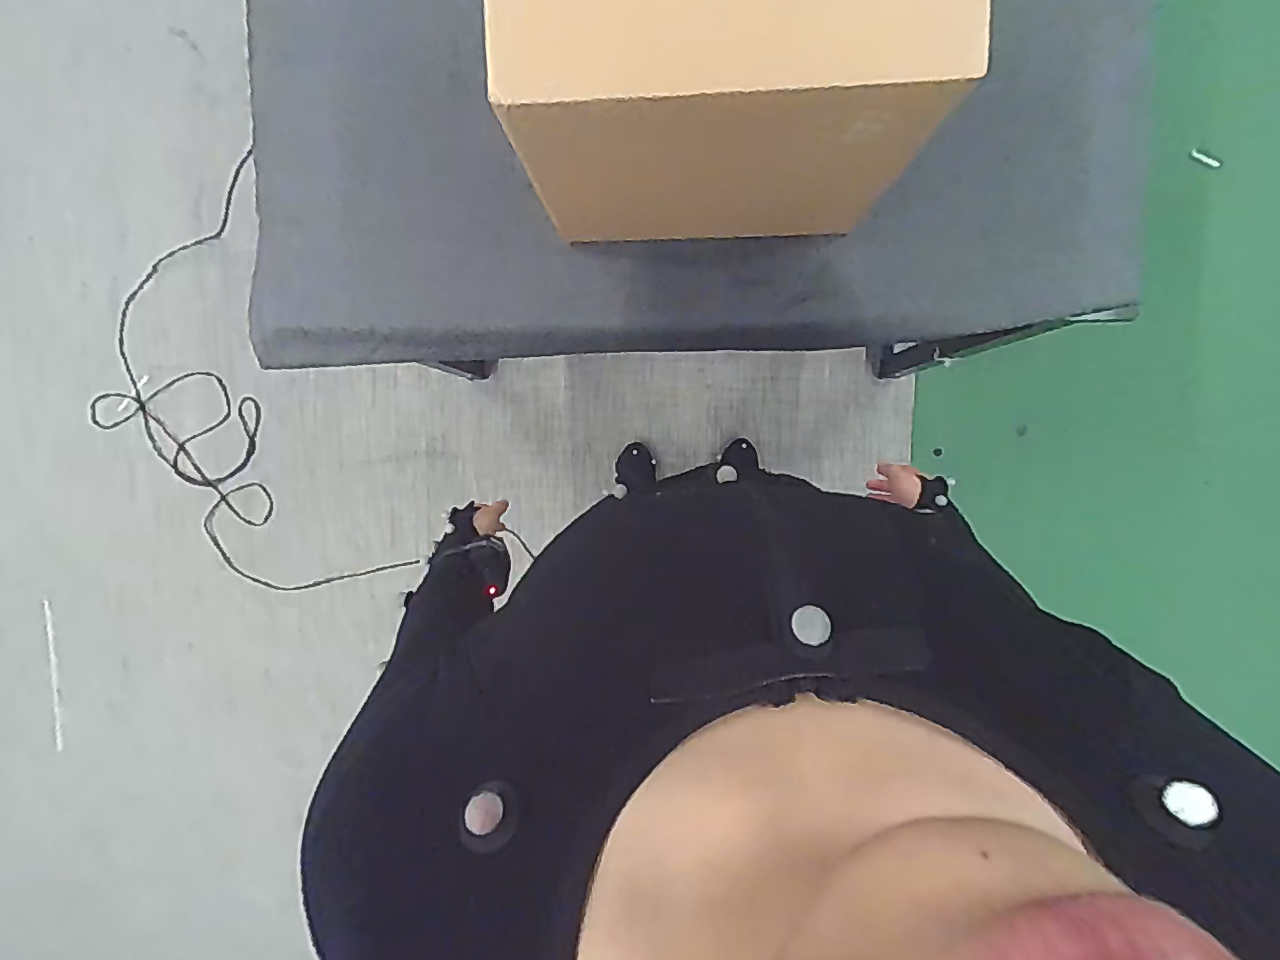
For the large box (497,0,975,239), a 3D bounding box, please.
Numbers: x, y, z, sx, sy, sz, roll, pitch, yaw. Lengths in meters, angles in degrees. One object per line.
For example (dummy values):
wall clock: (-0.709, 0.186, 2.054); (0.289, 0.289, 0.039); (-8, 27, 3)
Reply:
large box: (0.079, -0.487, 0.595); (0.408, 0.320, 0.320); (-1, 94, 3)
